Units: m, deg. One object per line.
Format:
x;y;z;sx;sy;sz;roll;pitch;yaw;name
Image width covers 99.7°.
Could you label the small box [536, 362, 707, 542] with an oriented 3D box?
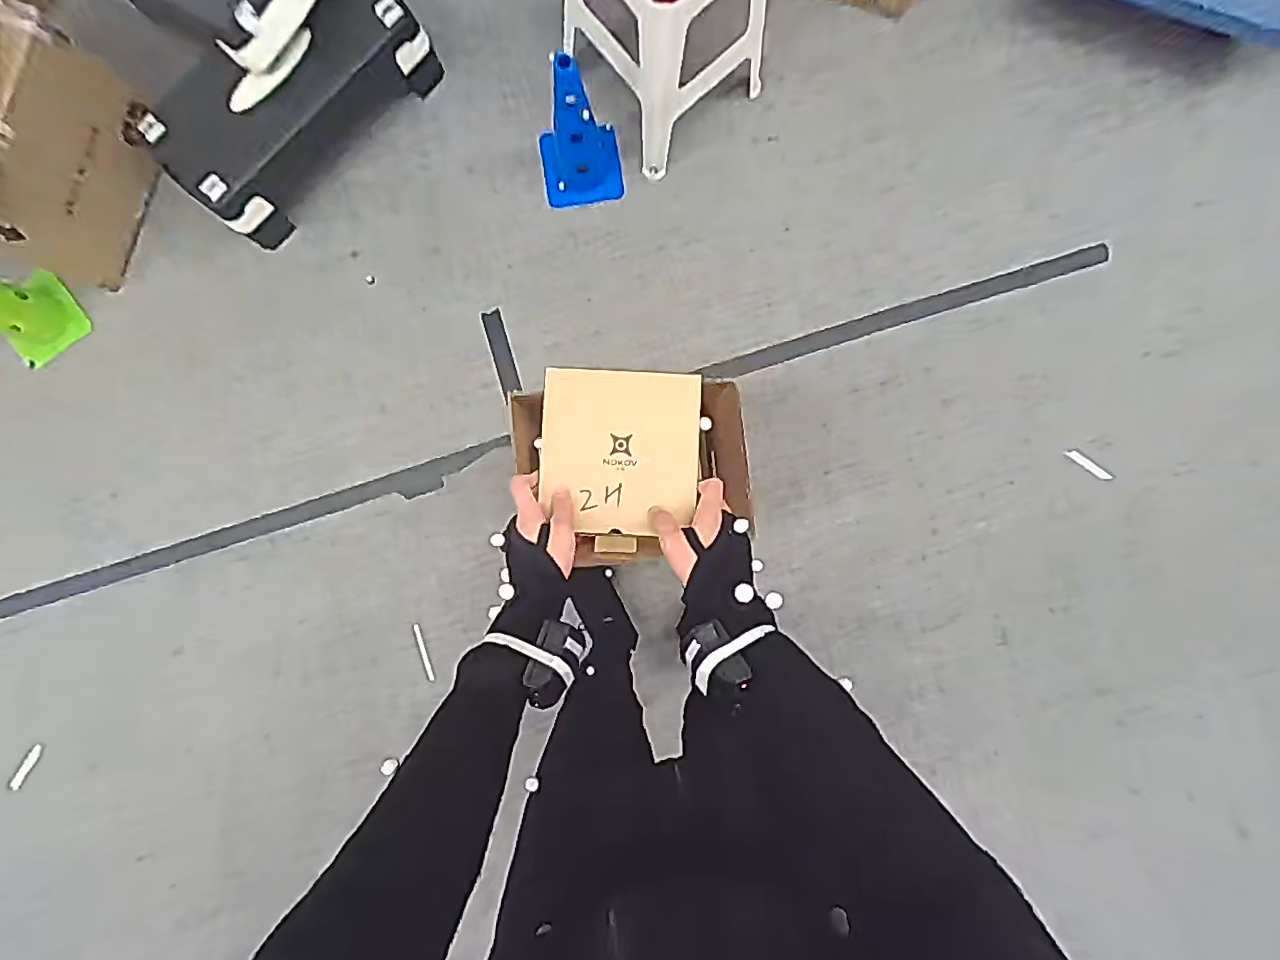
-0.019;-0.026;0.633;0.168;0.176;0.179;4;88;0;small box
